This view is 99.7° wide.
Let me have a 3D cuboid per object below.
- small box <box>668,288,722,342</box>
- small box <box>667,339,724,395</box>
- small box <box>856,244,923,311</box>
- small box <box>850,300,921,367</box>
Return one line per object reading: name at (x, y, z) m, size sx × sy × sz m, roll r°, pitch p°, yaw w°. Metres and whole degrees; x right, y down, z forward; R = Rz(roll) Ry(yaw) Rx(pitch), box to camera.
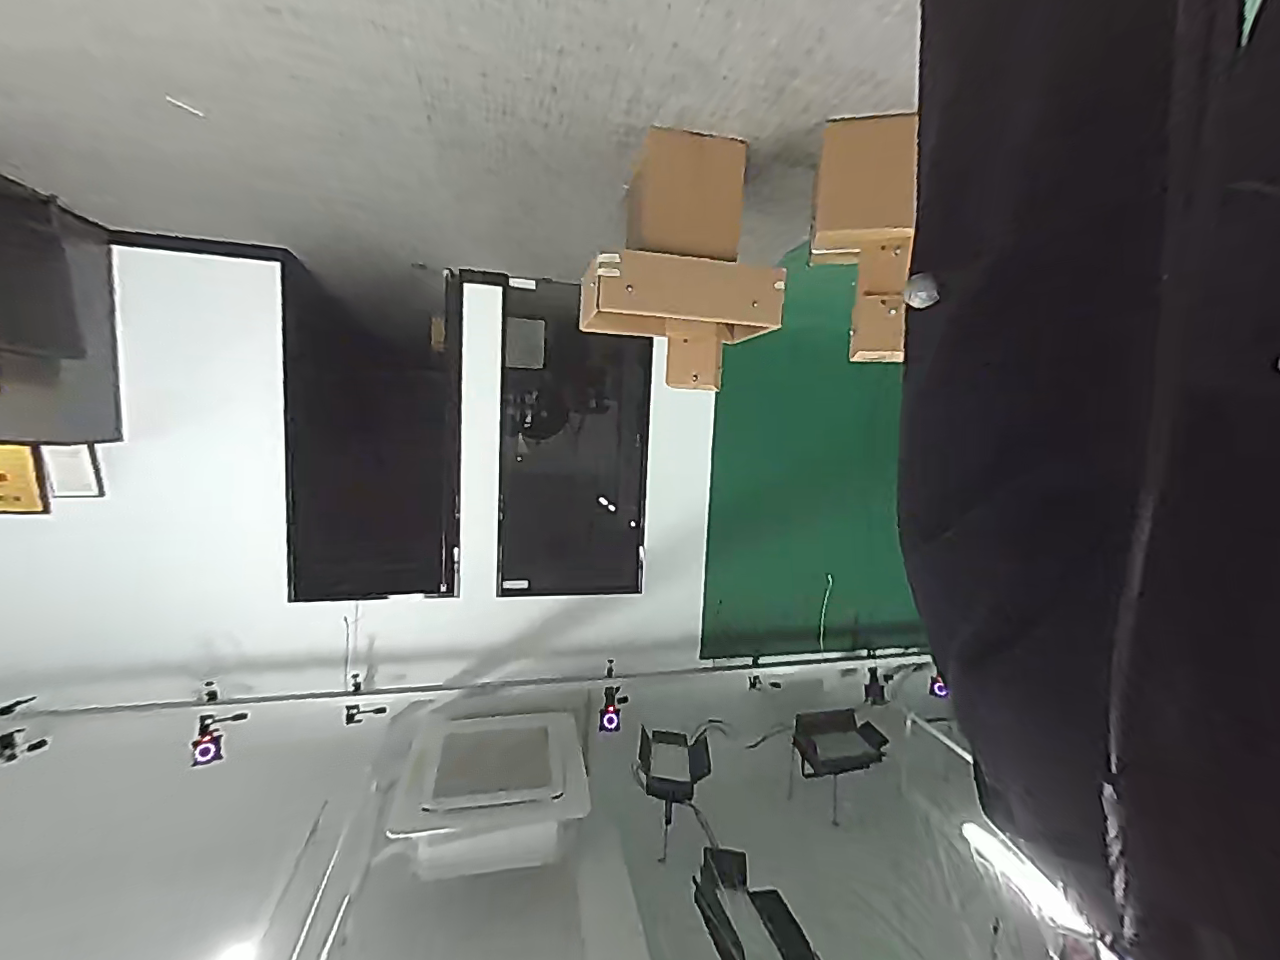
small box at (0.190, -0.552, 1.846) m, size 0.168 × 0.176 × 0.179 m, roll 5°, pitch -175°, yaw 10°
small box at (0.195, -0.388, 1.866) m, size 0.168 × 0.176 × 0.179 m, roll 5°, pitch -175°, yaw 15°
small box at (0.761, -0.610, 1.656) m, size 0.168 × 0.176 × 0.179 m, roll 4°, pitch -175°, yaw 18°
small box at (0.750, -0.446, 1.658) m, size 0.168 × 0.176 × 0.179 m, roll 3°, pitch -176°, yaw 13°
